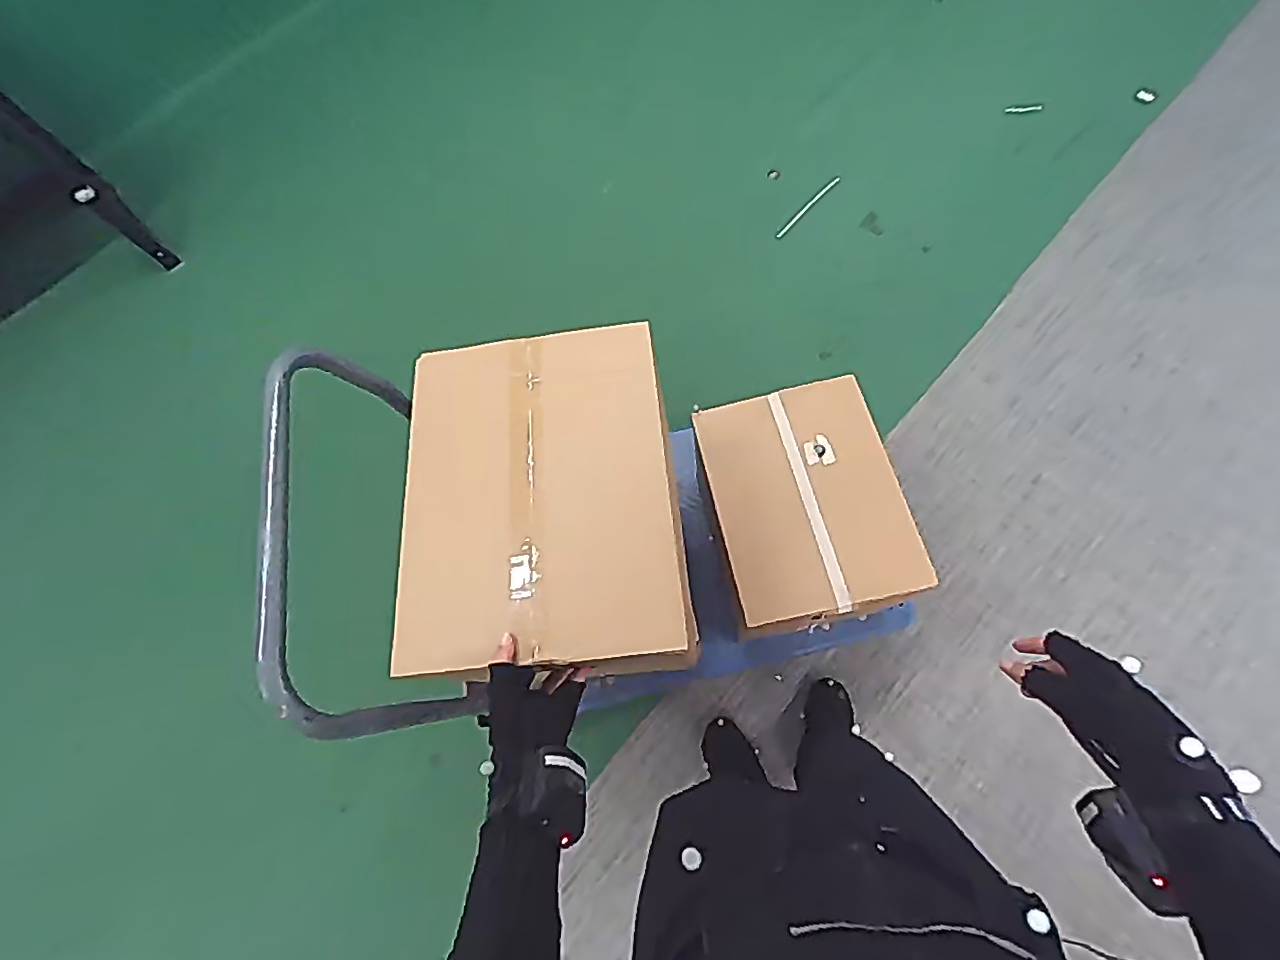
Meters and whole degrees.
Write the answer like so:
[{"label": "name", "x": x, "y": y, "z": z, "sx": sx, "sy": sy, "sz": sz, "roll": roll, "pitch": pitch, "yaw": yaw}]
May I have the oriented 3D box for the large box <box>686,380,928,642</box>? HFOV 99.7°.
[{"label": "large box", "x": 0.297, "y": 0.079, "z": 1.080, "sx": 0.320, "sy": 0.320, "sz": 0.408, "roll": -13, "pitch": 68, "yaw": 3}]
